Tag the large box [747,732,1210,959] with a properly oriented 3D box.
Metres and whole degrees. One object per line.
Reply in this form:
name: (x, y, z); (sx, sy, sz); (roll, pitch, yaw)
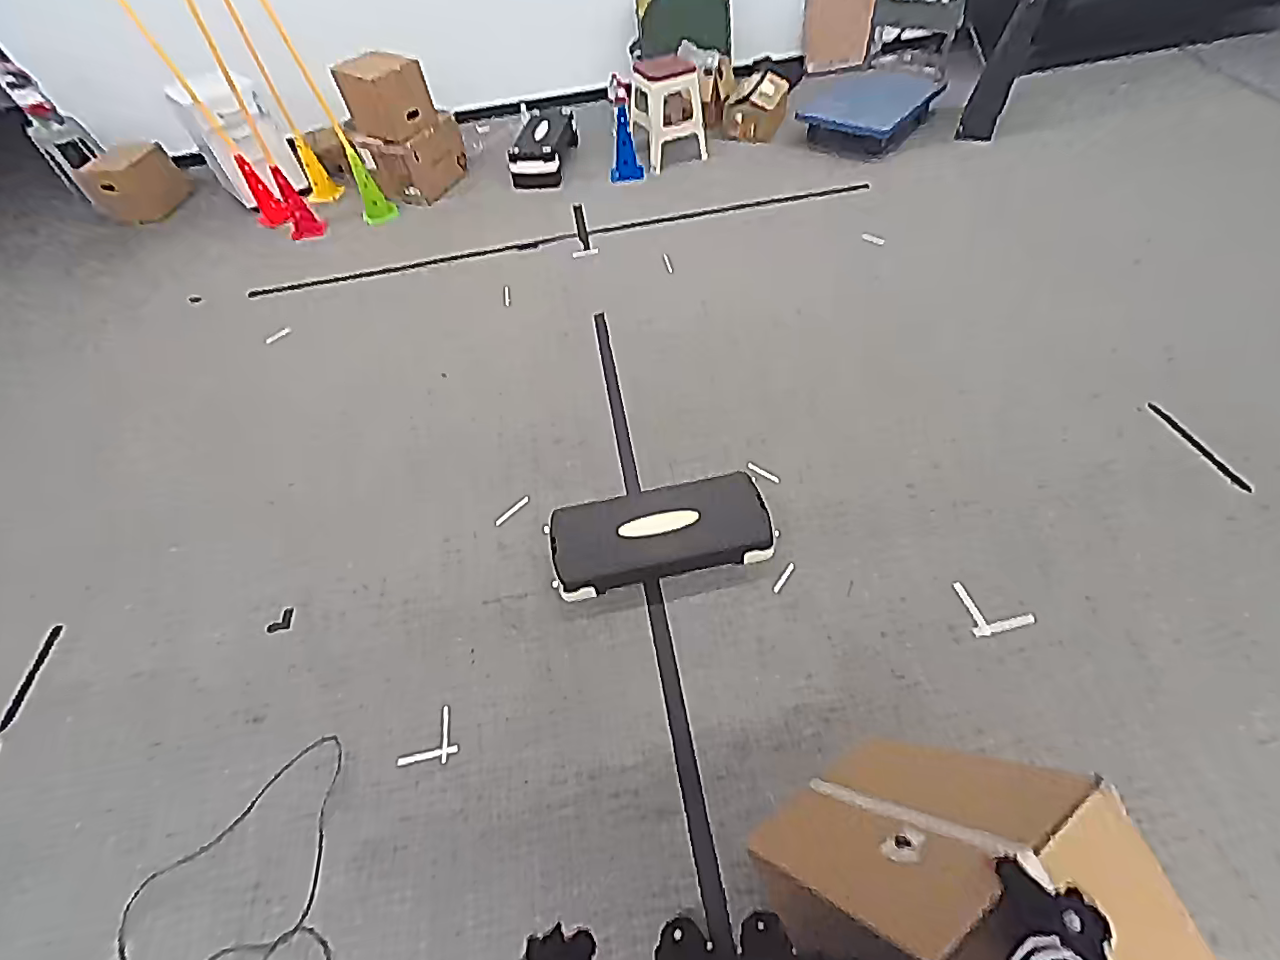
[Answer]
large box: (0.421, 0.587, 0.728); (0.320, 0.408, 0.320); (-24, 81, -23)
